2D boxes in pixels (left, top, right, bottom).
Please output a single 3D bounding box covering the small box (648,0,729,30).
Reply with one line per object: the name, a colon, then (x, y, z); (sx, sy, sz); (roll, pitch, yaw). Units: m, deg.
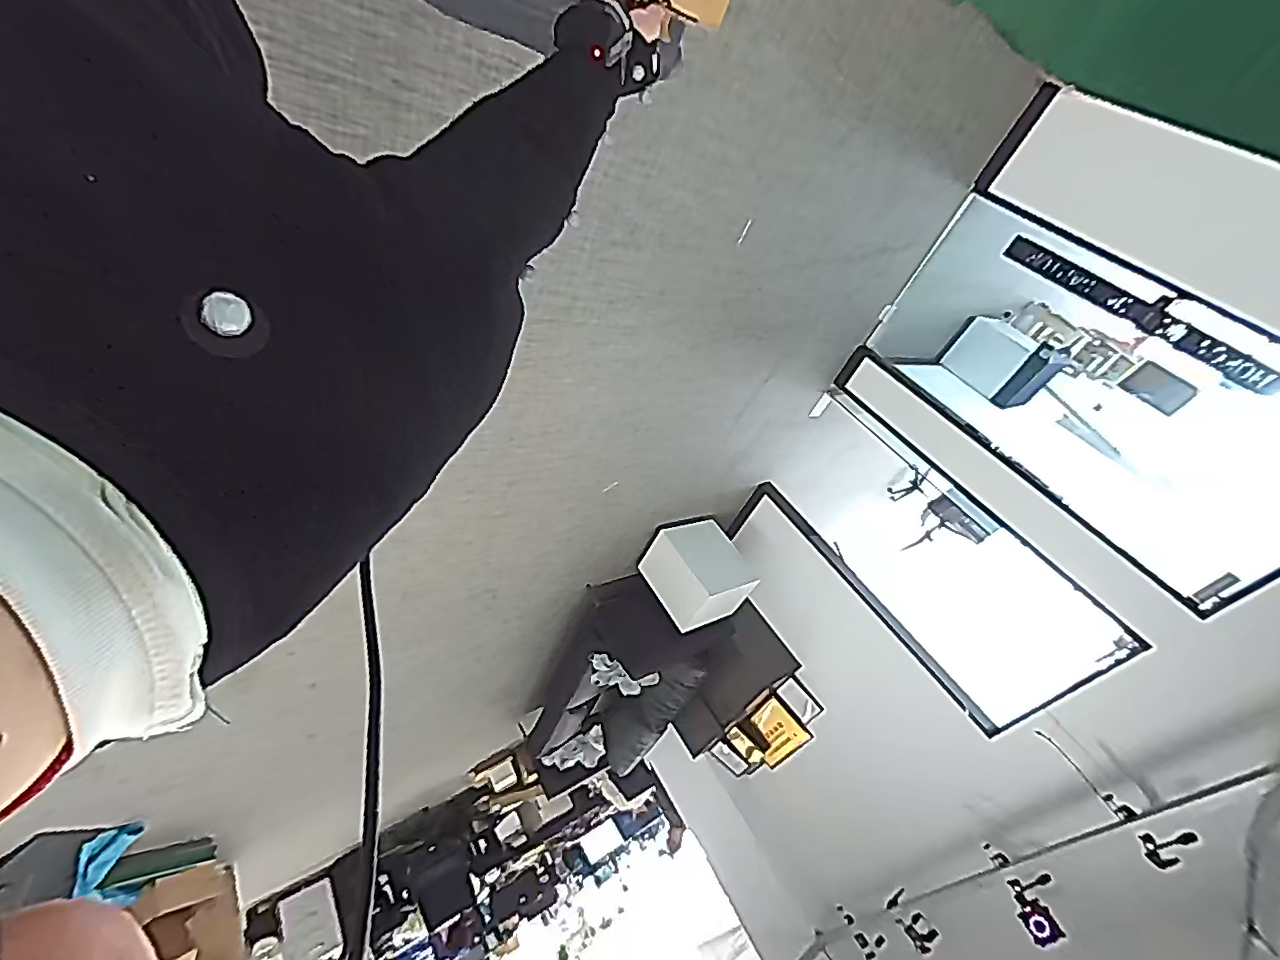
small box: (0.015, -0.632, 0.574); (0.168, 0.176, 0.179); (-11, 140, -37)
